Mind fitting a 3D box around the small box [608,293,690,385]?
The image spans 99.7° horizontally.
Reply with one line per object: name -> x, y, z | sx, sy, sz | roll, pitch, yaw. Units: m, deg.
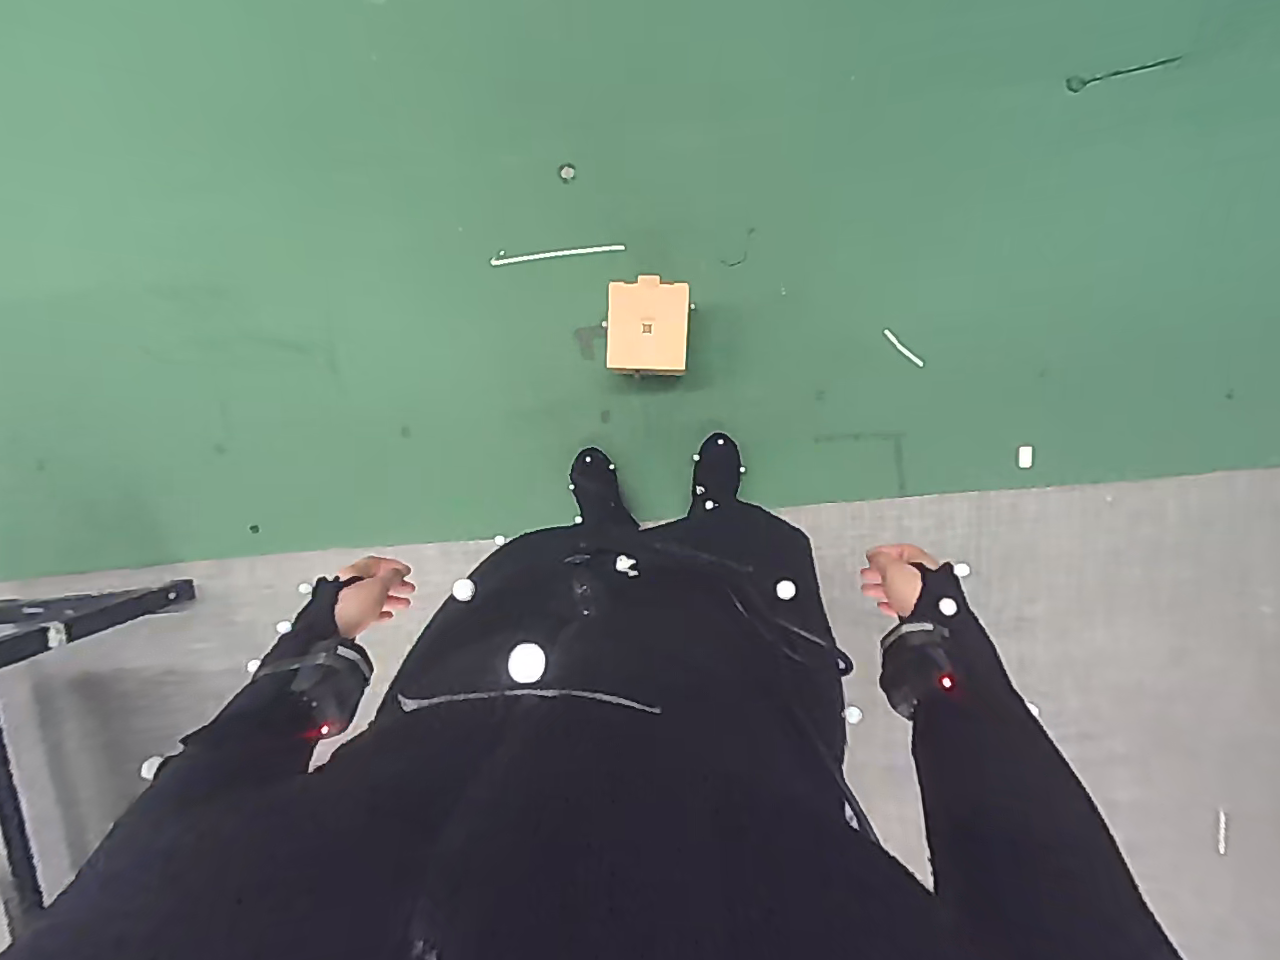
small box -> 0.023, -0.303, 1.191 | 0.168, 0.176, 0.179 | 2, 95, 3
